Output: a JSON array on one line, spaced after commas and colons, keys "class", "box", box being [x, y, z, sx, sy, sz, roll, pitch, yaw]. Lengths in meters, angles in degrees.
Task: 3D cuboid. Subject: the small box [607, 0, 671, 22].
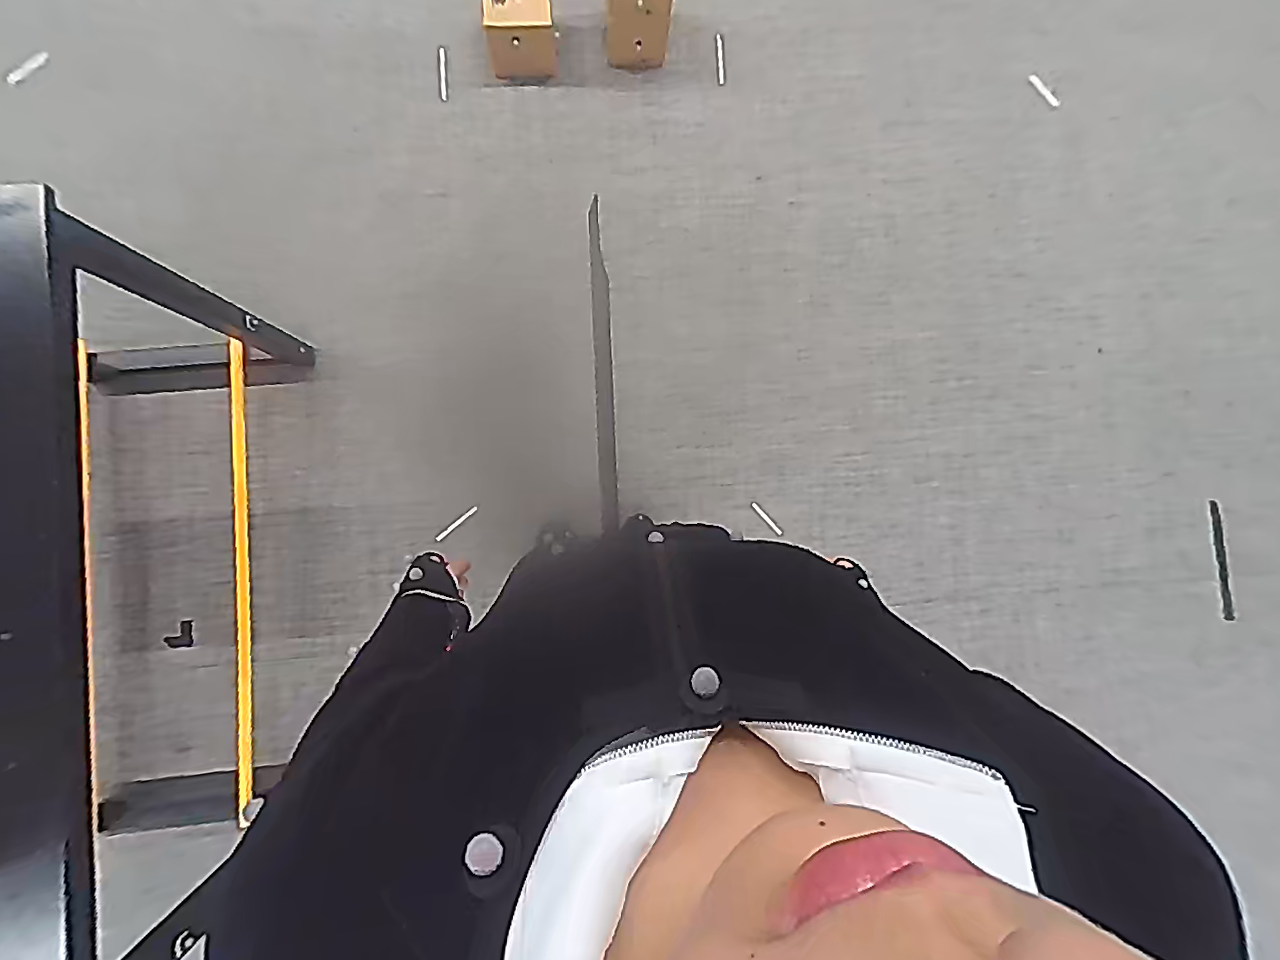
[{"class": "small box", "box": [-0.002, -1.289, 1.333, 0.168, 0.176, 0.179, -2, 88, -4]}]

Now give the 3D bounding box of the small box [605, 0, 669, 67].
[{"class": "small box", "box": [-0.011, -1.288, 1.499, 0.168, 0.176, 0.179, -4, 88, -4]}]

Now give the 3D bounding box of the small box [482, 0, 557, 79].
[{"class": "small box", "box": [-0.326, -1.233, 1.471, 0.179, 0.176, 0.168, -5, 88, -5]}]
